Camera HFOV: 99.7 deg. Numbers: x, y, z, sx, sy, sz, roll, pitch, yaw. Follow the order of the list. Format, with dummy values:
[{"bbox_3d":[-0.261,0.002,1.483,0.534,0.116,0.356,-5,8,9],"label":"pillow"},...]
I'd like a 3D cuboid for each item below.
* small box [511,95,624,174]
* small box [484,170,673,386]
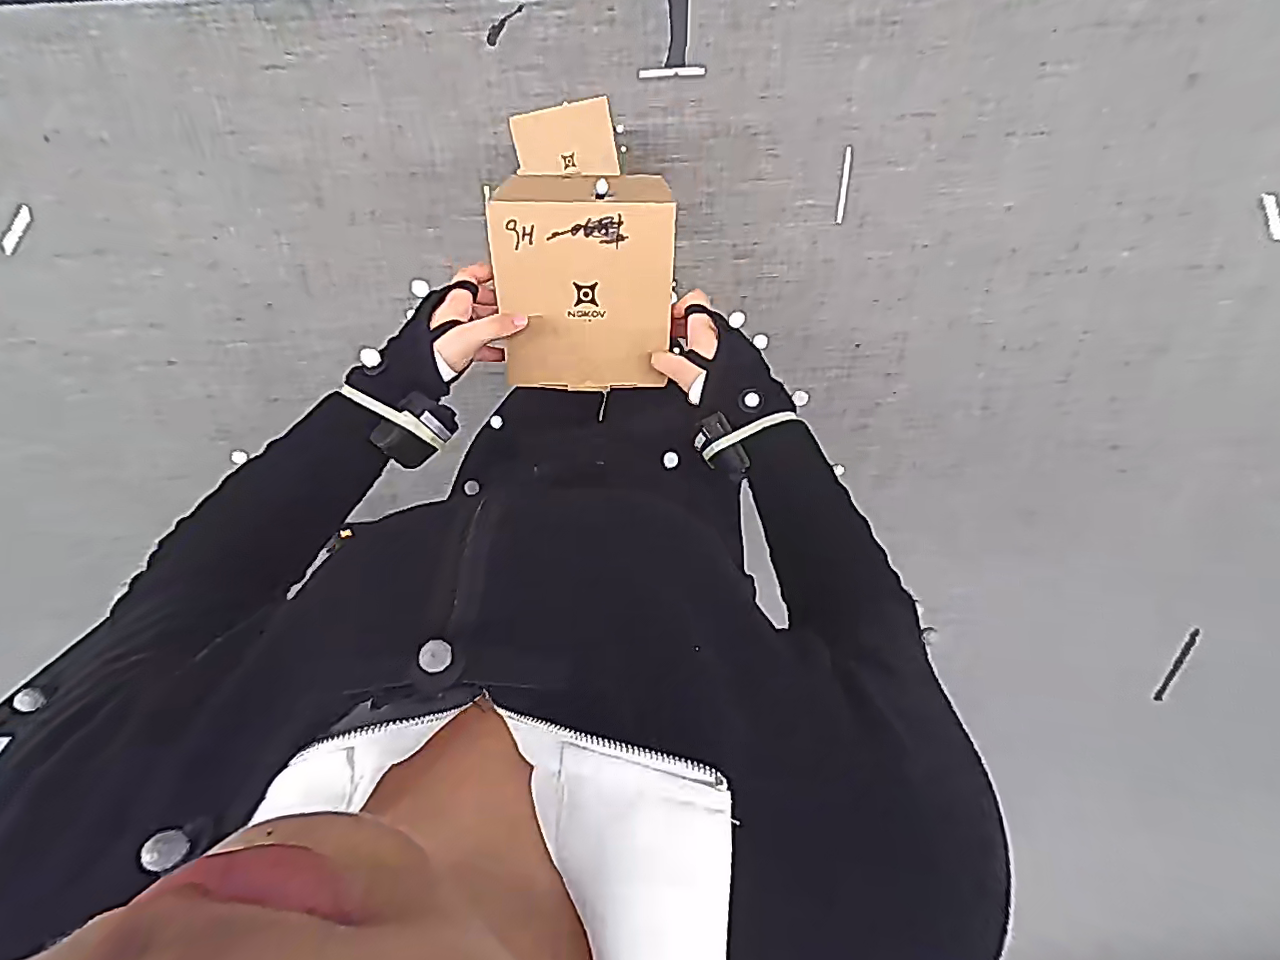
[{"bbox_3d":[-0.117,-0.561,0.973,0.168,0.176,0.179,-8,118,6],"label":"small box"},{"bbox_3d":[-0.057,-0.216,0.575,0.168,0.176,0.179,0,126,-2],"label":"small box"}]
